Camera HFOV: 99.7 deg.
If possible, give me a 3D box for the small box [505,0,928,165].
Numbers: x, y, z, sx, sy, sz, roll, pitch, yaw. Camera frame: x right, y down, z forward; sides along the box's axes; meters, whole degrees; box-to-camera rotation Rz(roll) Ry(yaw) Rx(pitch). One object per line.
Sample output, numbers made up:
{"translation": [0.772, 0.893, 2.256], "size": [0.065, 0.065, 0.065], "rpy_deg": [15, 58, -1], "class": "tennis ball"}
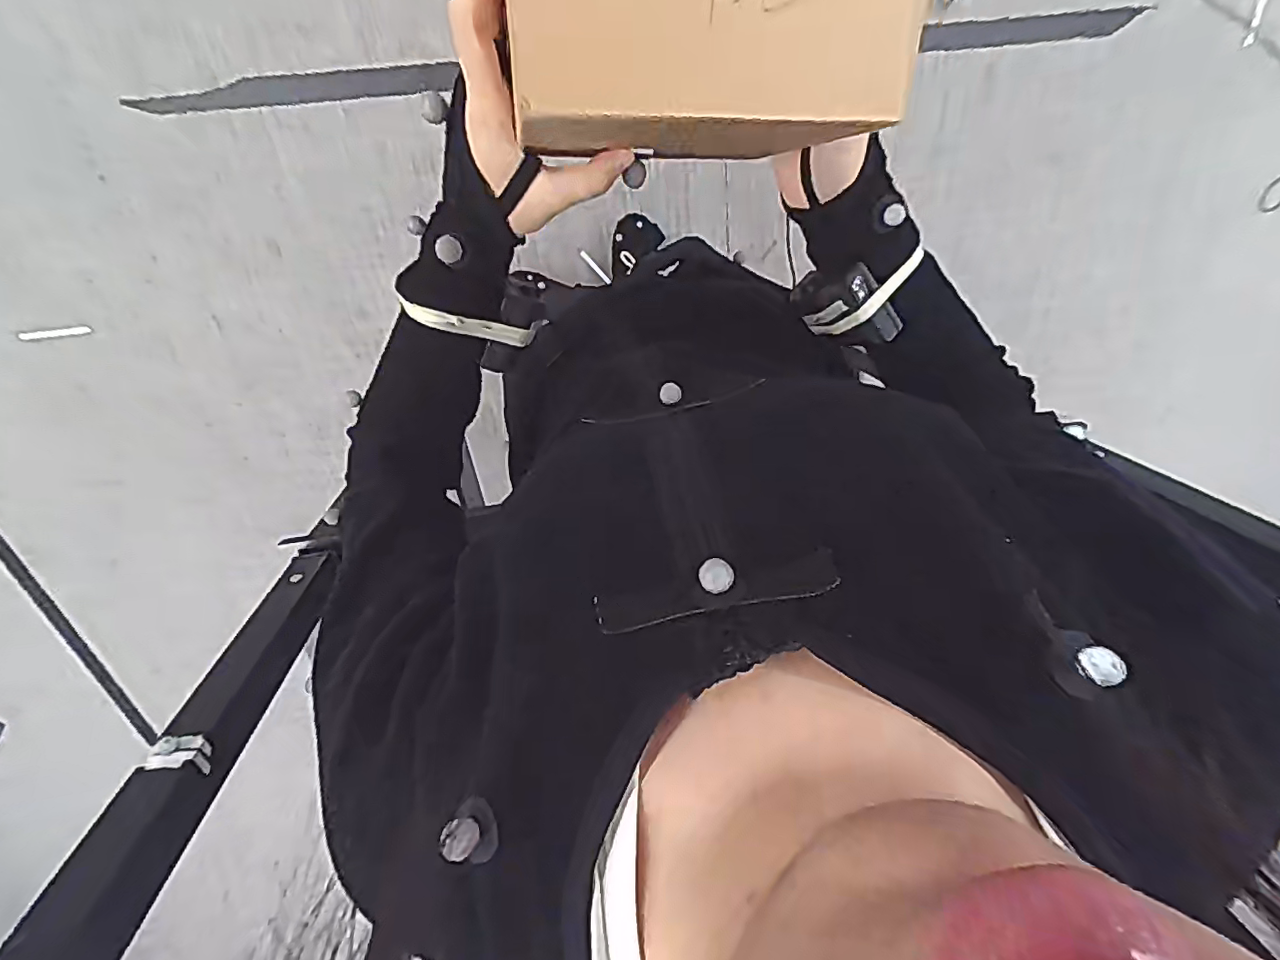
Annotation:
{"translation": [0.019, -0.260, 0.256], "size": [0.168, 0.176, 0.179], "rpy_deg": [-6, 116, -10], "class": "small box"}
